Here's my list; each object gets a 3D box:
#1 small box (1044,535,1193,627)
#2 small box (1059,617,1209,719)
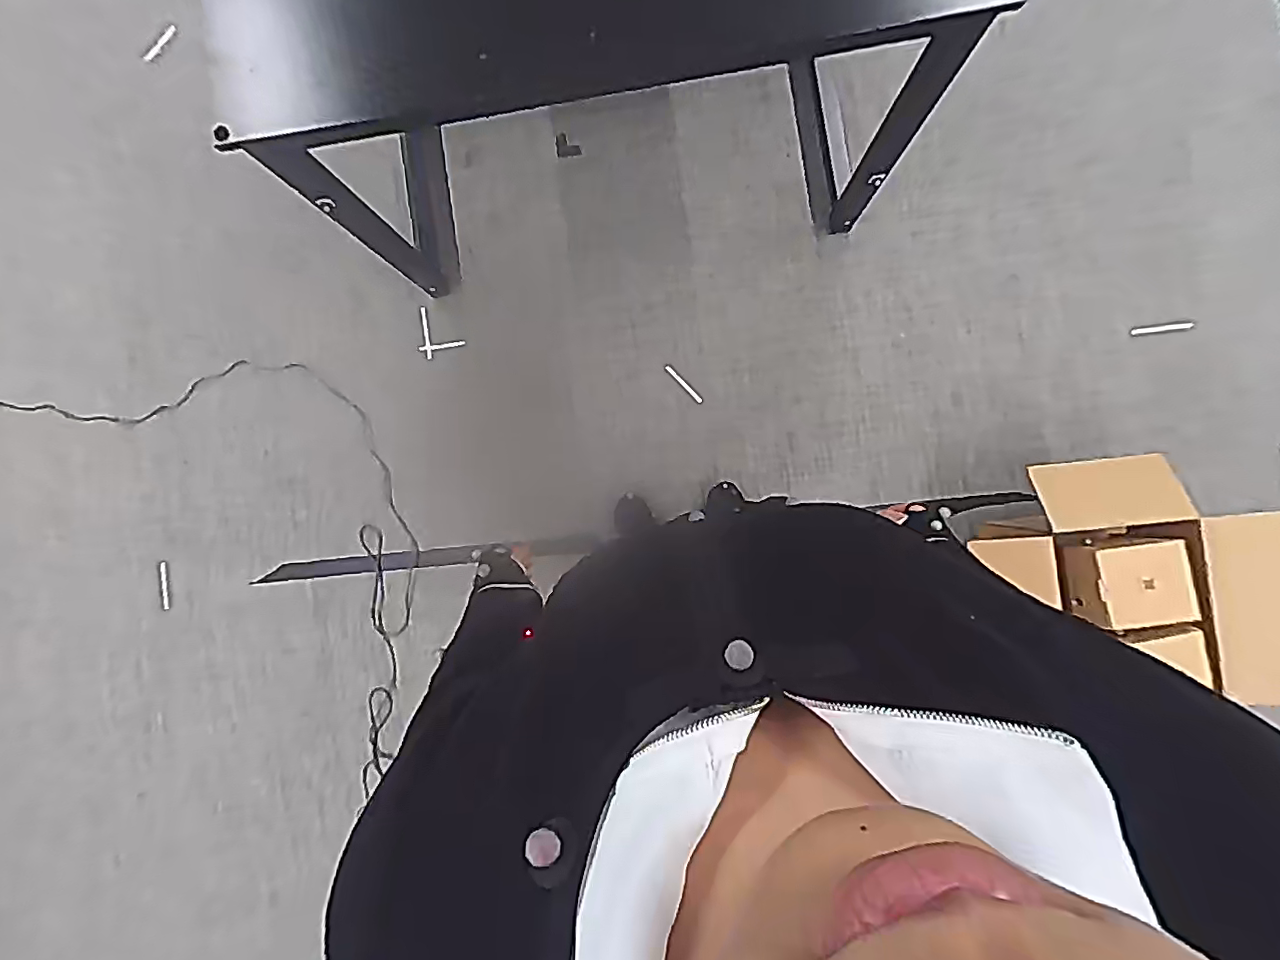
[{"bbox_3d":[1.030,0.215,1.186,0.179,0.176,0.168,-9,86,2],"label":"small box"},{"bbox_3d":[1.061,0.392,1.182,0.179,0.176,0.168,-13,93,4],"label":"small box"}]
